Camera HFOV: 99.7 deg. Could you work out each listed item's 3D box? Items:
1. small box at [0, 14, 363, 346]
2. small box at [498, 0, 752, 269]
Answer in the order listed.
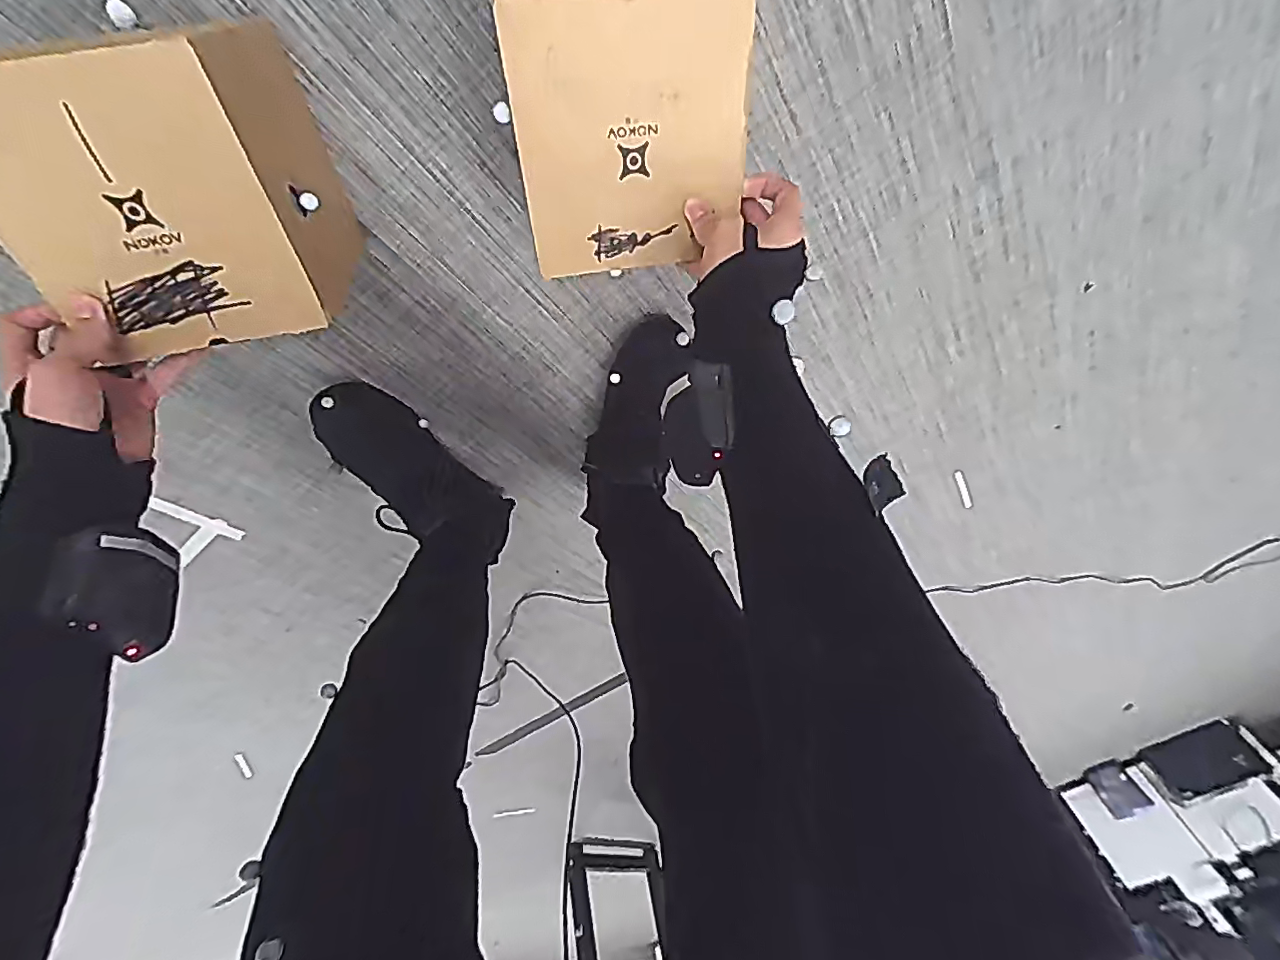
[{"bbox_3d":[-0.338,-0.232,0.416,0.168,0.176,0.179,-12,134,-6],"label":"small box"},{"bbox_3d":[-0.020,-0.299,0.446,0.168,0.176,0.179,-9,134,-6],"label":"small box"}]
